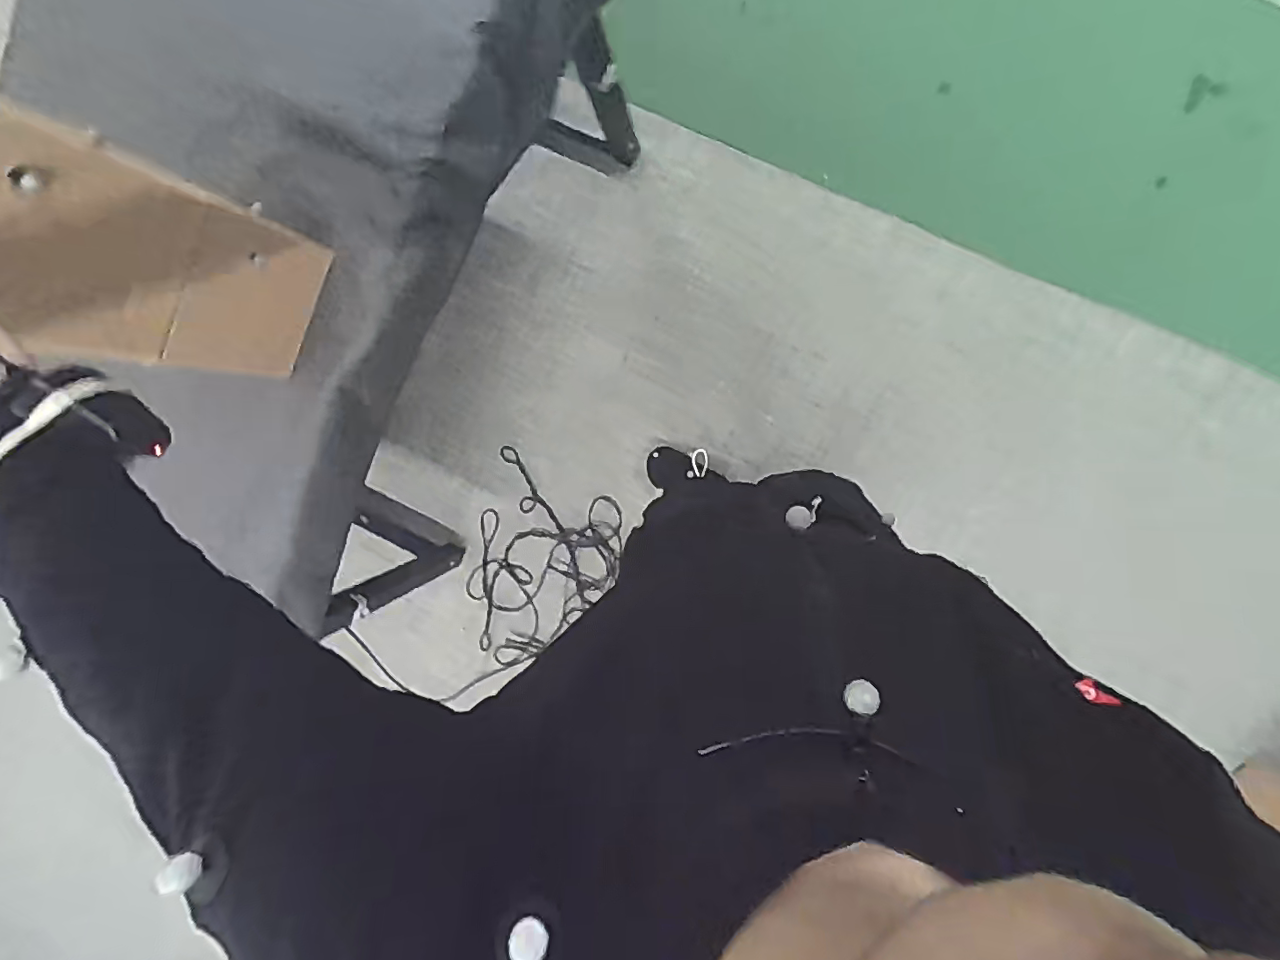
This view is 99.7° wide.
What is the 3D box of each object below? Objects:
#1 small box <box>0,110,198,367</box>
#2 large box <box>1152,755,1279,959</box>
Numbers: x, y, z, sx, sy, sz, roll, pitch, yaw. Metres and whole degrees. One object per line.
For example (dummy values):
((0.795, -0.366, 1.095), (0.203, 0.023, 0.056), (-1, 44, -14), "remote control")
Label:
((-0.534, -0.211, 0.460), (0.168, 0.176, 0.179), (26, 98, 6), "small box")
((1.418, 0.874, 1.100), (0.320, 0.320, 0.408), (32, 101, 5), "large box")
